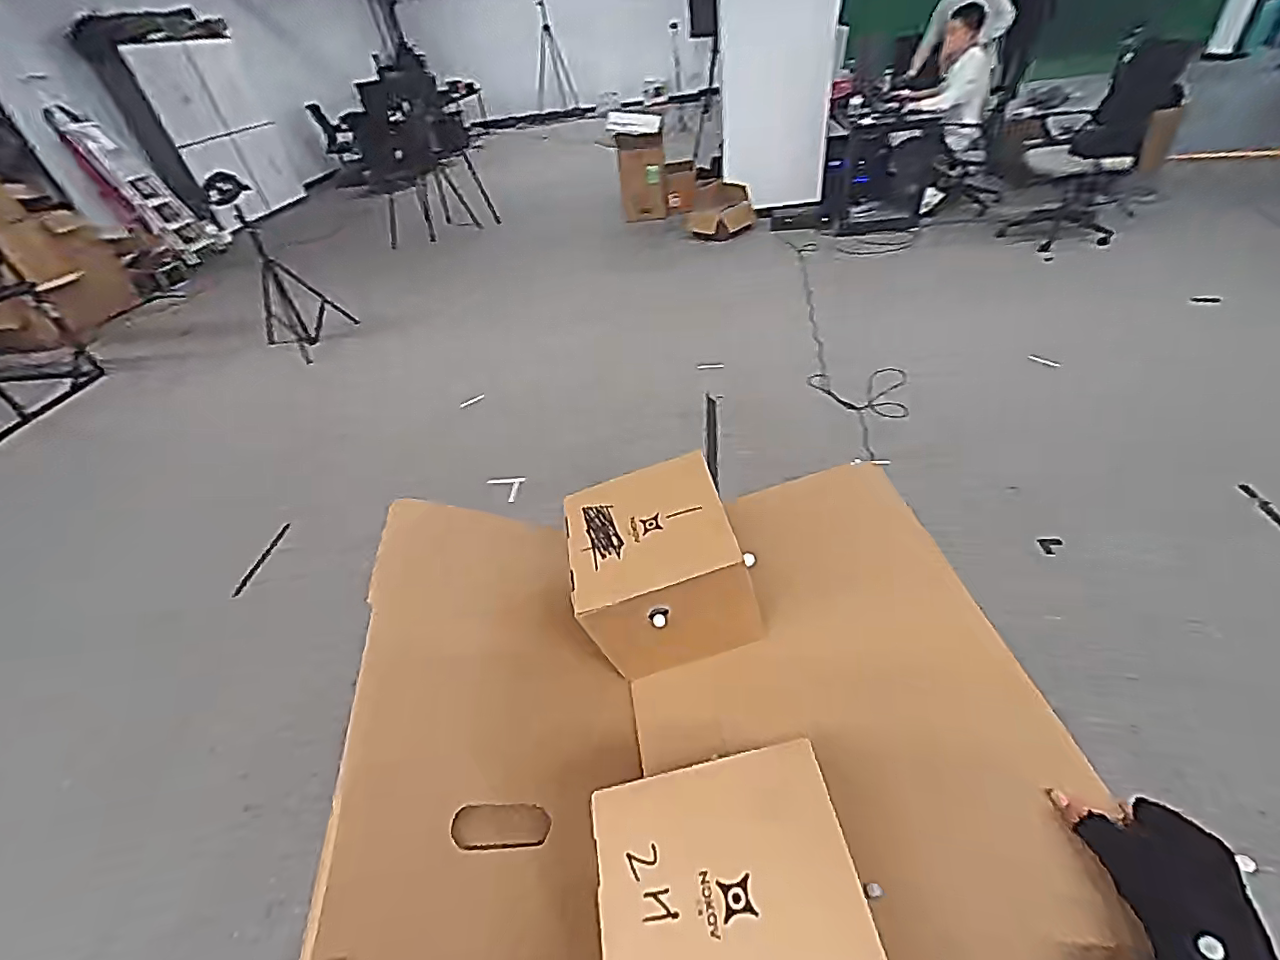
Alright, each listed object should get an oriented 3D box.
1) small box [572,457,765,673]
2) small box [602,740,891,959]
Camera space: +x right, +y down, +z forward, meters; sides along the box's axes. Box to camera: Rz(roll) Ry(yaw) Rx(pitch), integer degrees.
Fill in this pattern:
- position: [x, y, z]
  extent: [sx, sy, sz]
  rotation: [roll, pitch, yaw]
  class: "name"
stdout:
- position: [0.035, 0.107, 0.647]
  extent: [0.179, 0.176, 0.168]
  rotation: [-19, 45, 5]
  class: "small box"
- position: [0.084, 0.329, 0.422]
  extent: [0.179, 0.176, 0.168]
  rotation: [-18, 45, 8]
  class: "small box"
